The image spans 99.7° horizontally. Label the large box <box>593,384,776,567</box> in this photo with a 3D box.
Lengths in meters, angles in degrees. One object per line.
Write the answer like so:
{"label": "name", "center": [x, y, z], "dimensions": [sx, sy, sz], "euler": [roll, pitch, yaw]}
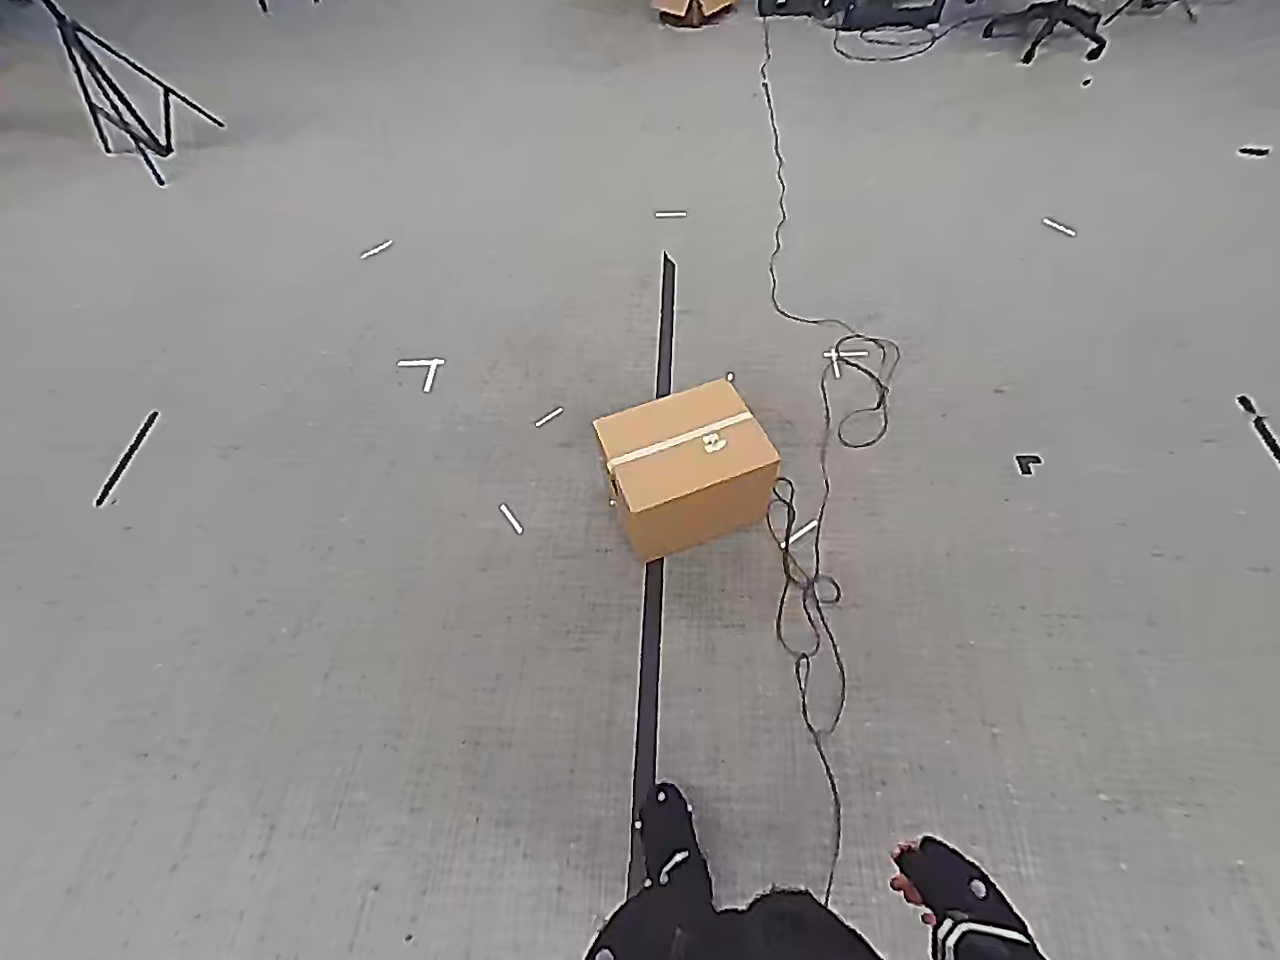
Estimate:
{"label": "large box", "center": [0.117, -0.008, 1.540], "dimensions": [0.408, 0.320, 0.320], "euler": [-19, 58, -9]}
